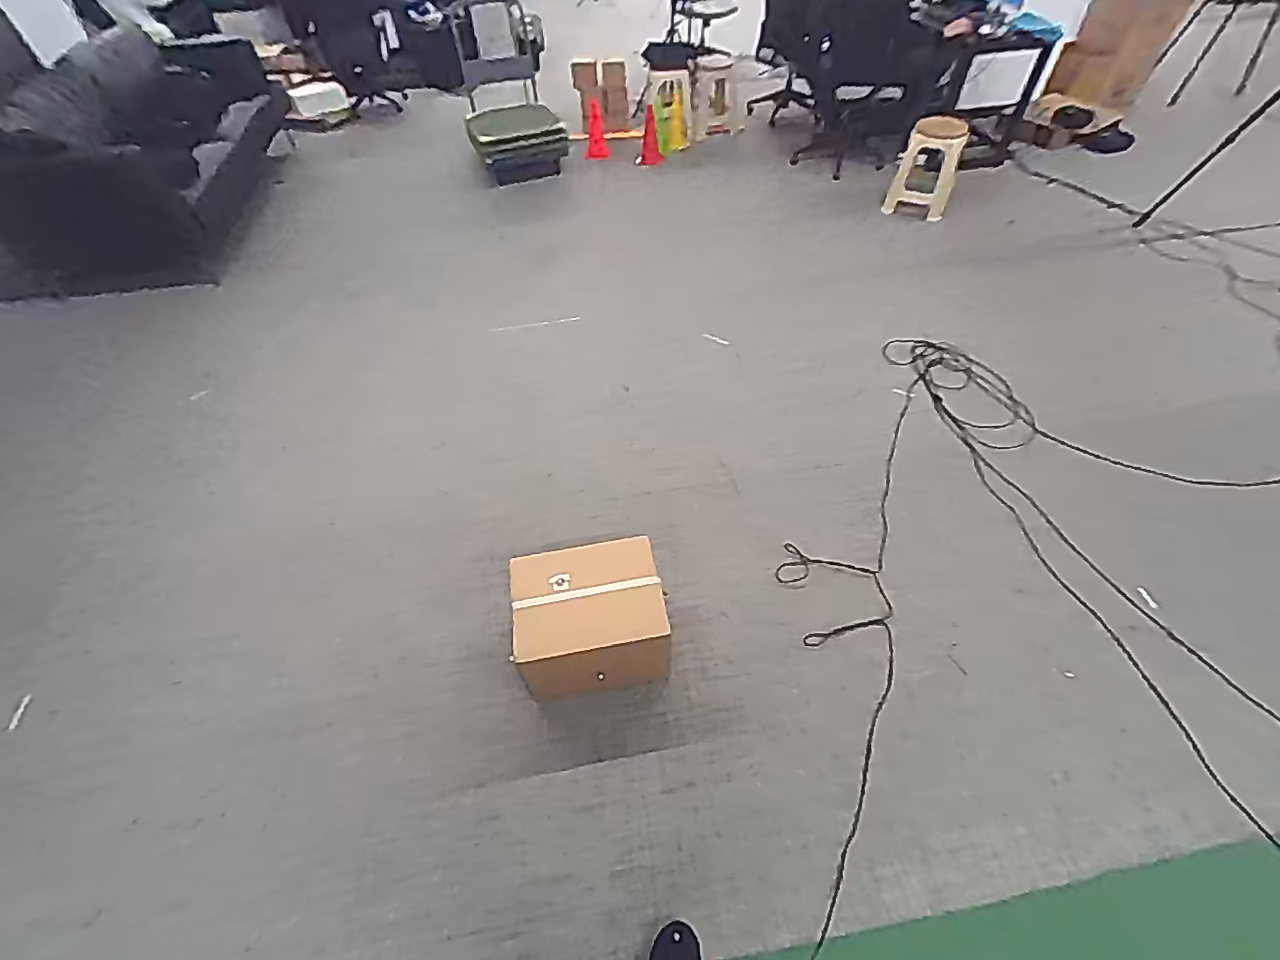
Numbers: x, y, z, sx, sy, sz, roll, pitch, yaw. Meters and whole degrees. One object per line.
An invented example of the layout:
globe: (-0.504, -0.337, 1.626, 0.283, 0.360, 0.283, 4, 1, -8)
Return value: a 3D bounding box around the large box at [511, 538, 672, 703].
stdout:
large box: (-0.136, 0.415, 1.584, 0.408, 0.320, 0.320, -11, 50, -5)
